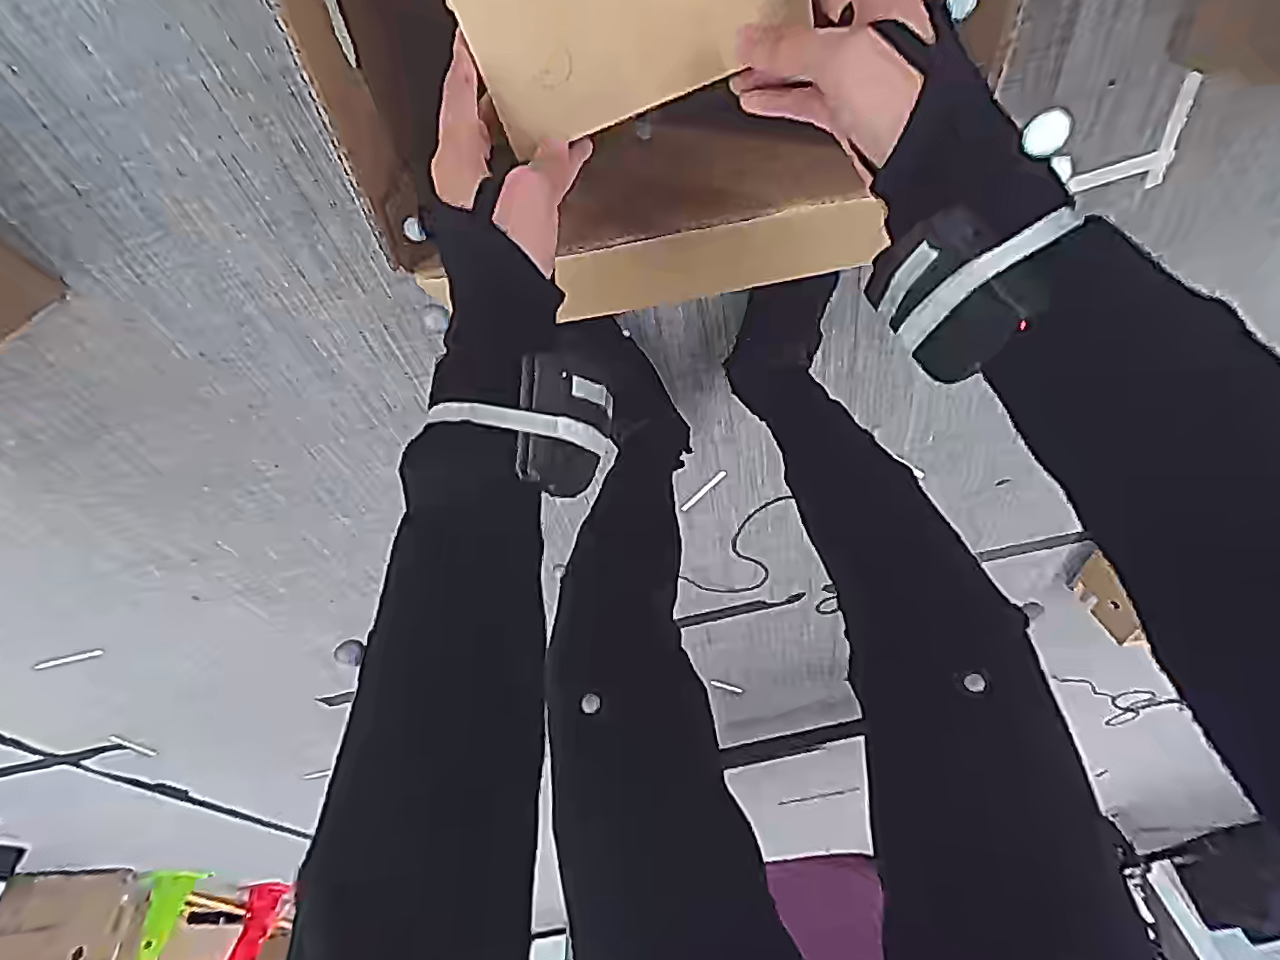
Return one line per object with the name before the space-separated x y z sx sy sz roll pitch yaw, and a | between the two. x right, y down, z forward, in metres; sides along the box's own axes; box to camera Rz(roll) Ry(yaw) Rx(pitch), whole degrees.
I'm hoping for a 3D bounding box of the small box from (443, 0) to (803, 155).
small box | -0.024 -0.318 0.320 0.179 0.176 0.168 -18 125 9
